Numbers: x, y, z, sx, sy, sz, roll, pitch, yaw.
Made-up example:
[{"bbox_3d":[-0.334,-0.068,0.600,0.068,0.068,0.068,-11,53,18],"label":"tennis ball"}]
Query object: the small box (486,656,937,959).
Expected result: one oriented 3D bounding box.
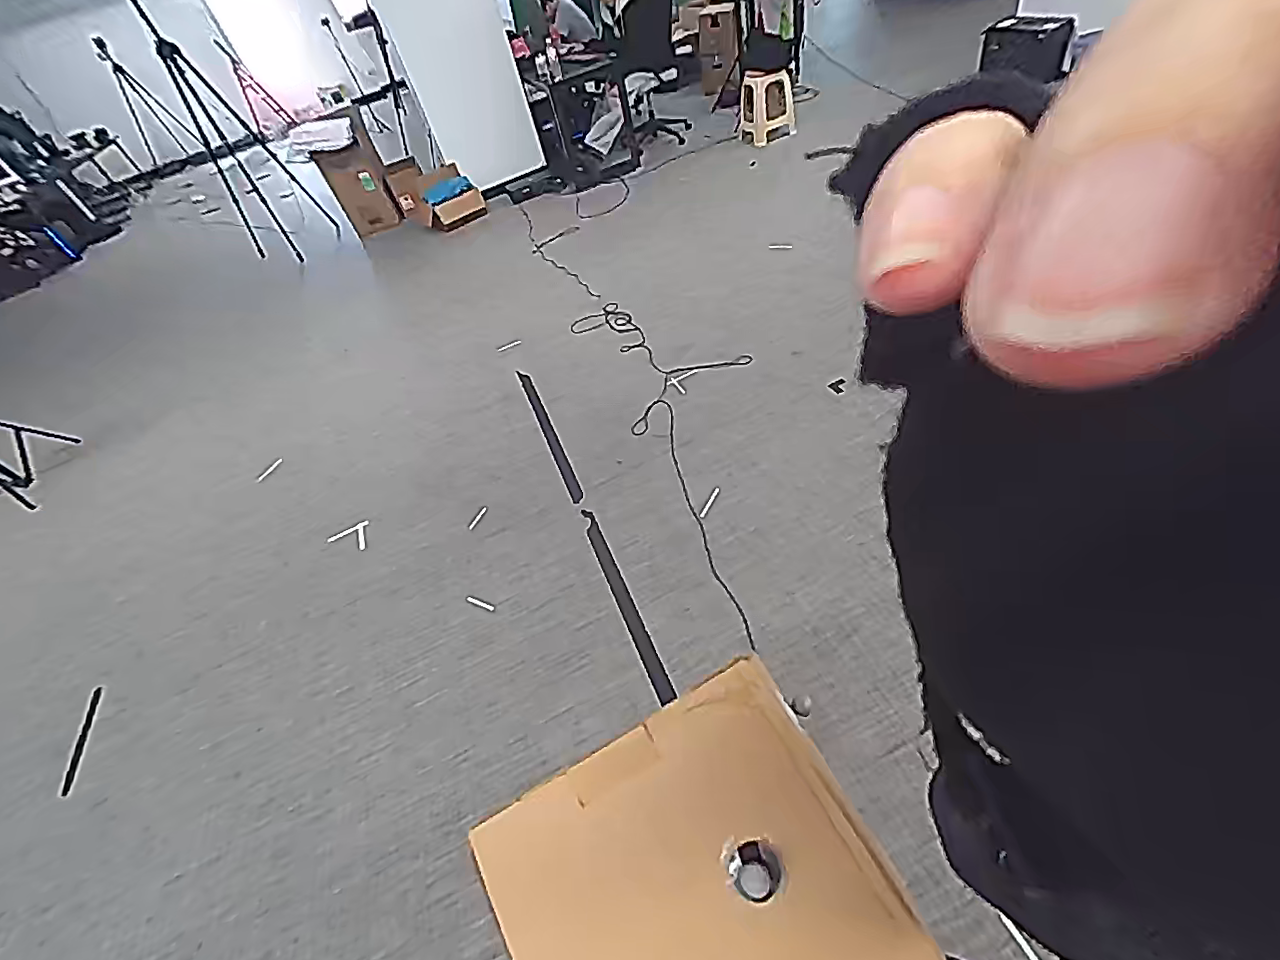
[{"bbox_3d":[0.046,0.227,0.325,0.168,0.179,0.176,-33,68,3],"label":"small box"}]
